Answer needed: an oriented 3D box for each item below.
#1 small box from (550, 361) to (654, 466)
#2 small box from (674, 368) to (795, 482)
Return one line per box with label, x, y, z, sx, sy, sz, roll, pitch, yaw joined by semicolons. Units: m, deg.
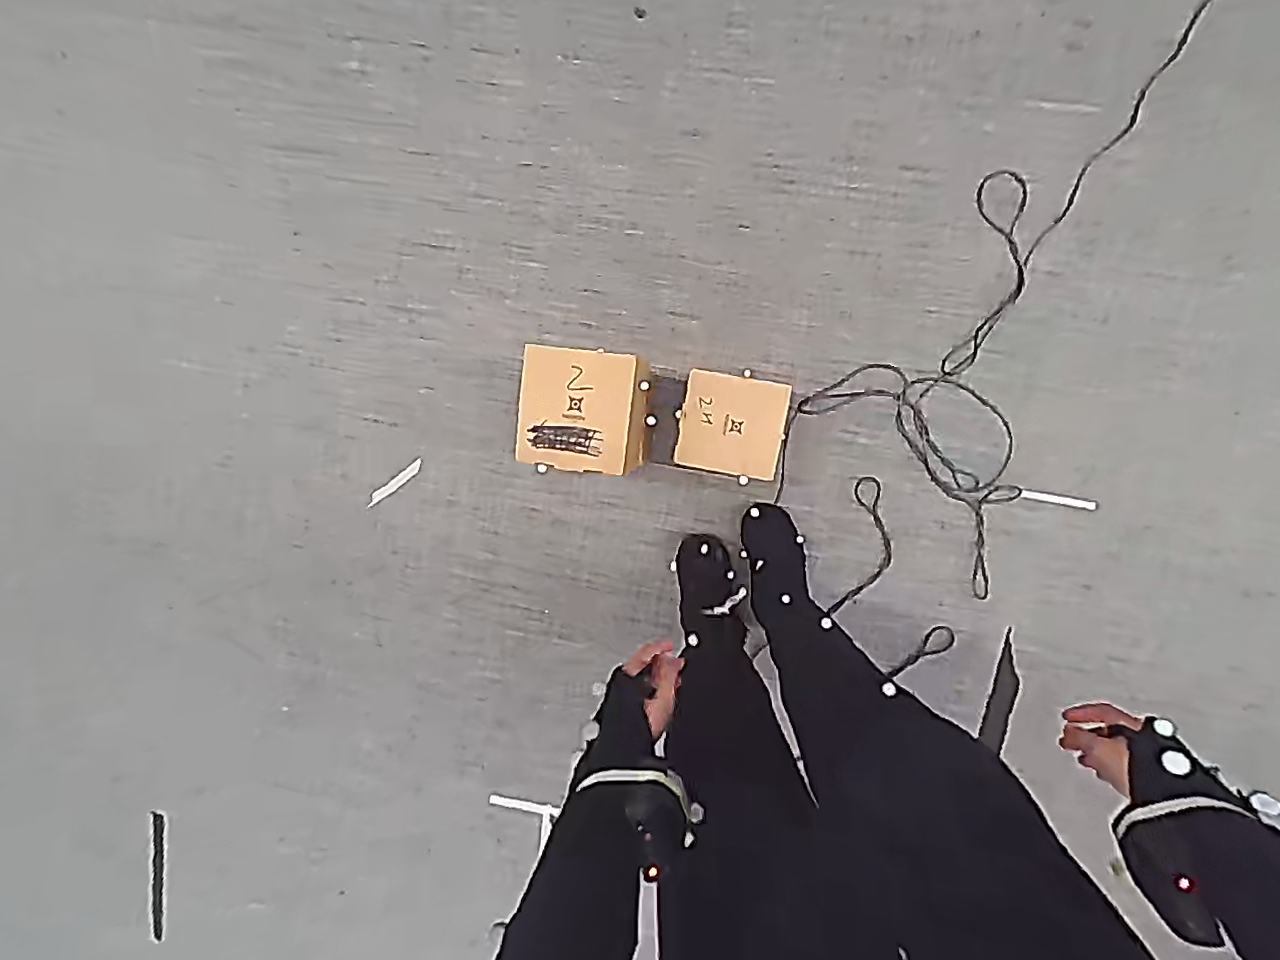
small box;-0.064;-0.124;1.012;0.168;0.176;0.179;3;98;7
small box;0.166;-0.102;0.981;0.179;0.176;0.168;11;98;7
